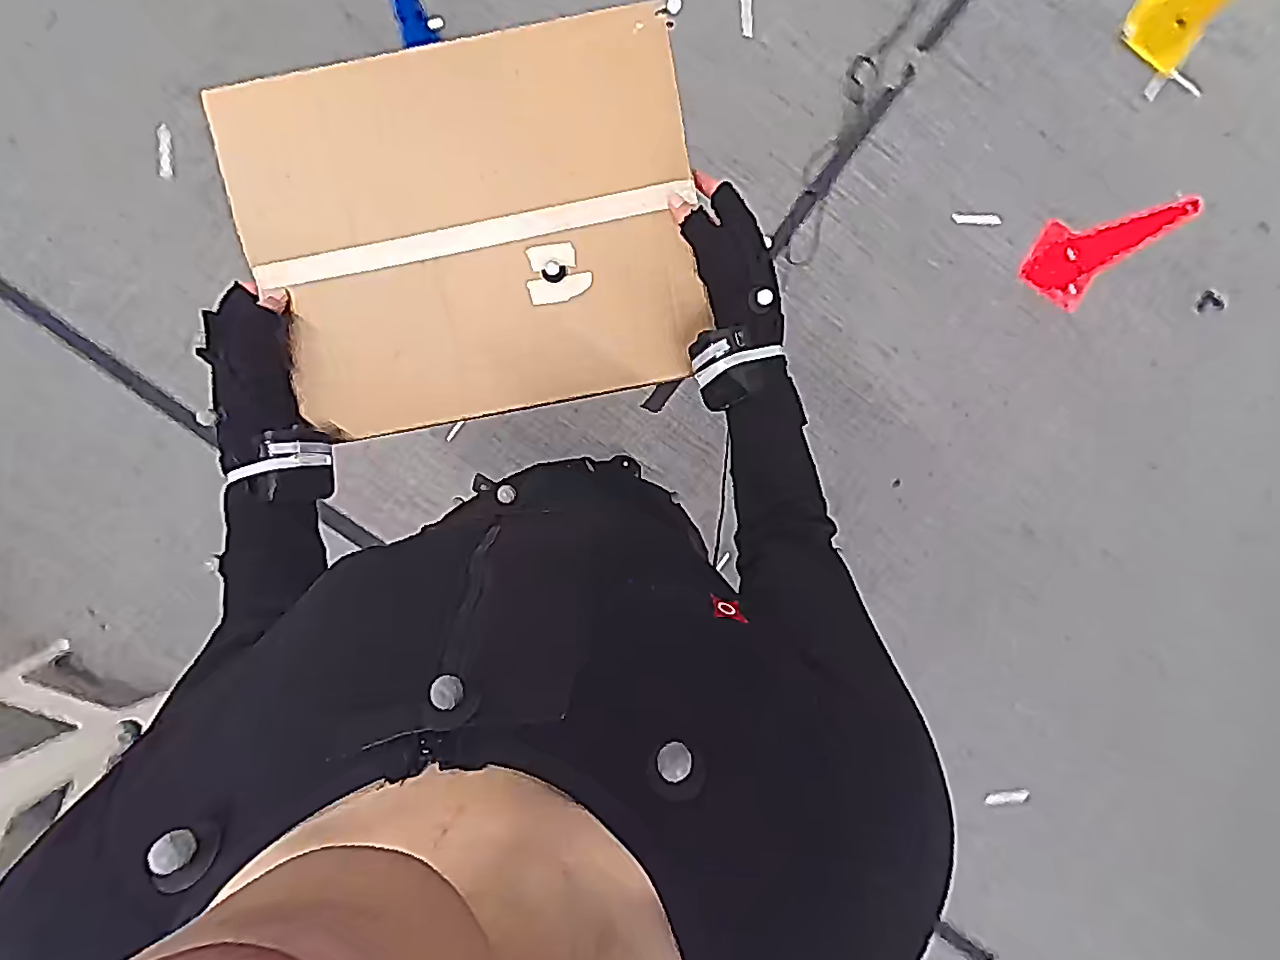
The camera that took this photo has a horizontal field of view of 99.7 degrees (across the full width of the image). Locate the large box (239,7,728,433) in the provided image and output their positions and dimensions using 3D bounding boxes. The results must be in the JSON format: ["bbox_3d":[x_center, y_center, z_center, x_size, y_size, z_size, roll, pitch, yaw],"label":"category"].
[{"bbox_3d":[-0.139,-0.251,0.642,0.408,0.320,0.320,-10,100,1],"label":"large box"}]

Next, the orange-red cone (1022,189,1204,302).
[{"bbox_3d":[1.227,-0.635,1.380,0.198,0.360,0.199,34,87,-4],"label":"orange-red cone"}]
